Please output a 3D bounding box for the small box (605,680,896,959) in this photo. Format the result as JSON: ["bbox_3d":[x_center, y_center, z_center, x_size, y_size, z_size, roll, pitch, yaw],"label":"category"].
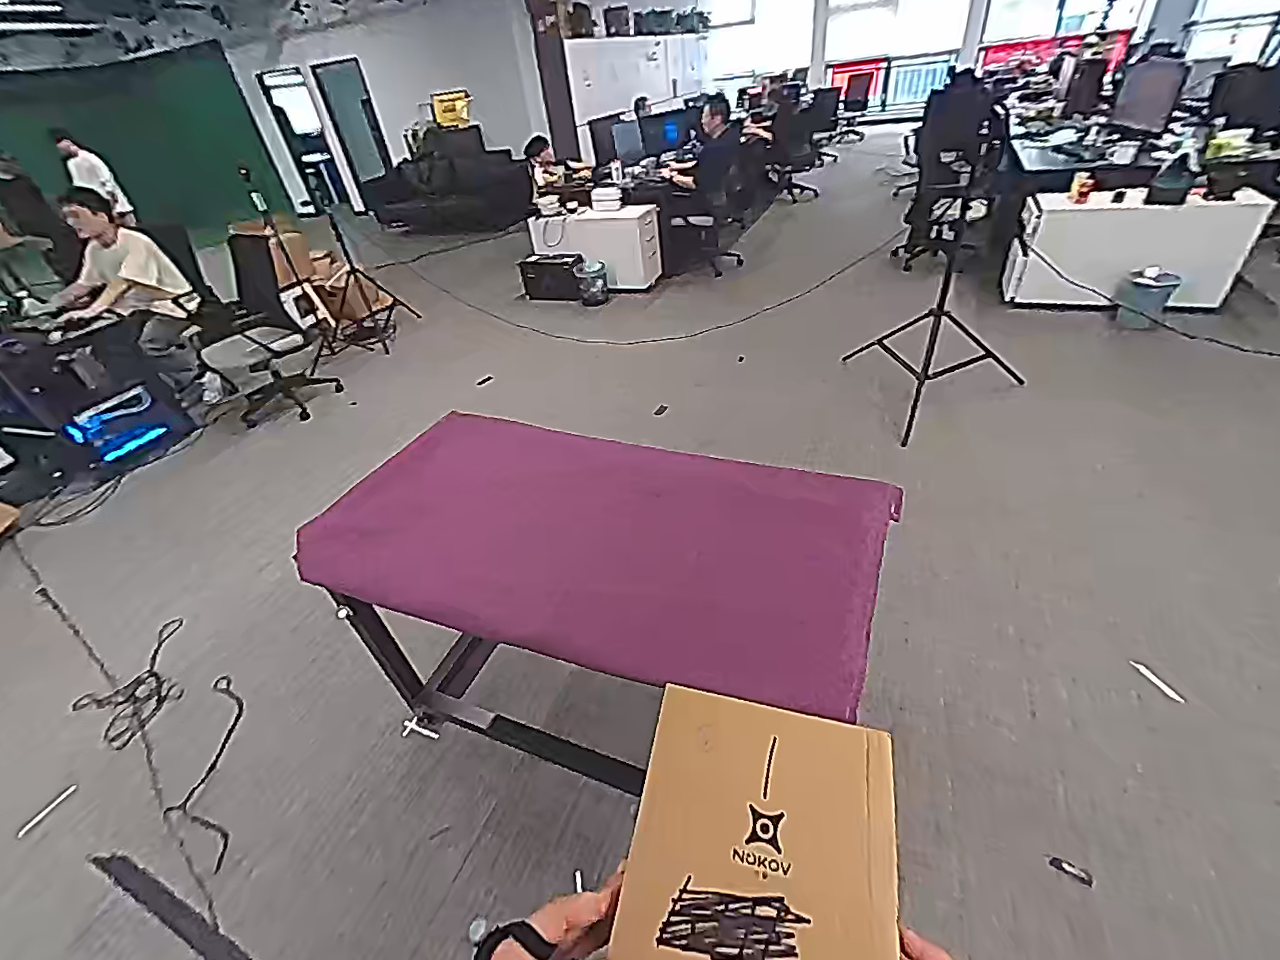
[{"bbox_3d":[0.084,0.283,0.409,0.168,0.176,0.179,8,50,12],"label":"small box"}]
